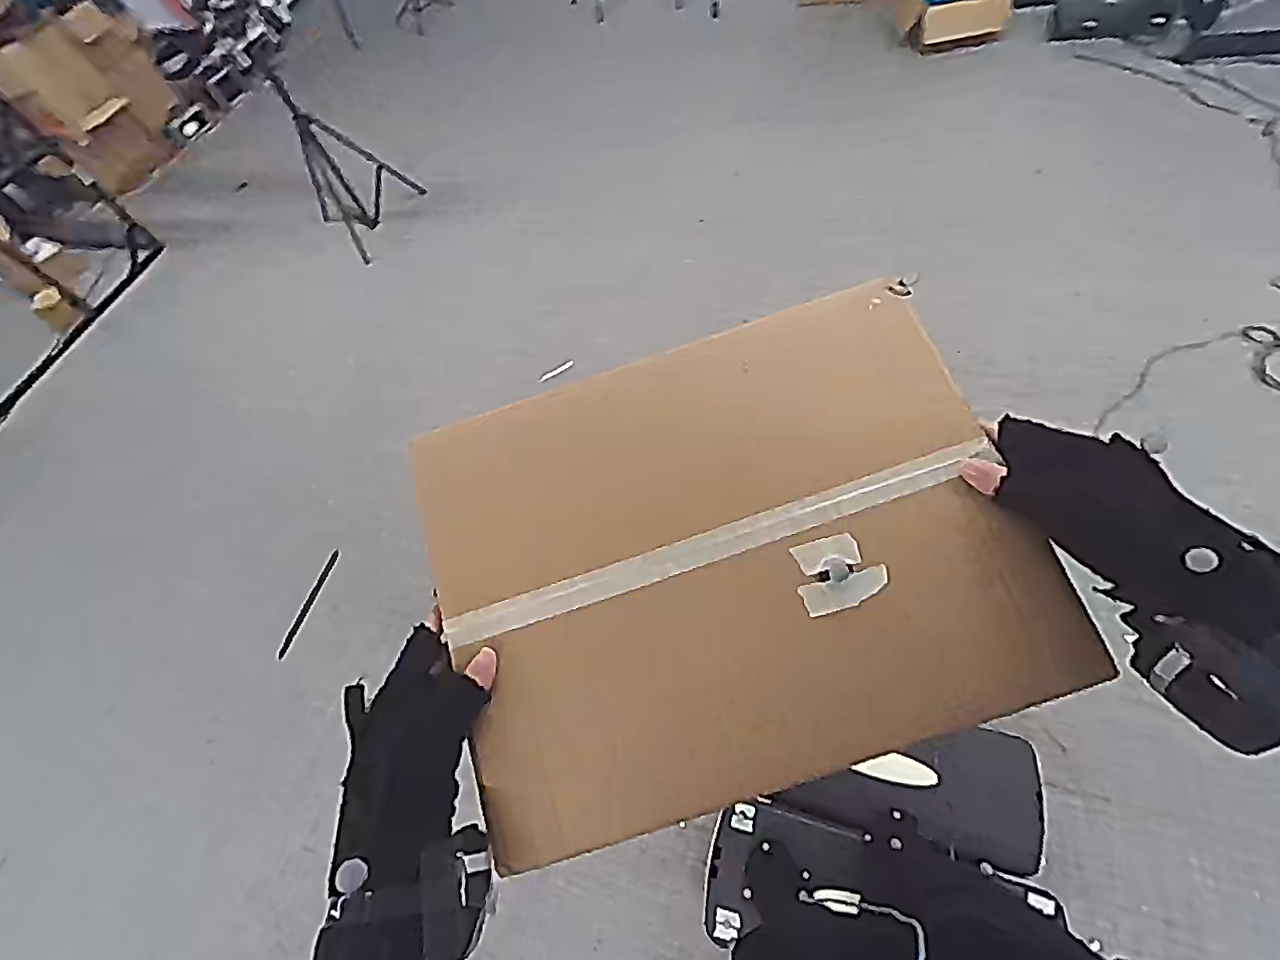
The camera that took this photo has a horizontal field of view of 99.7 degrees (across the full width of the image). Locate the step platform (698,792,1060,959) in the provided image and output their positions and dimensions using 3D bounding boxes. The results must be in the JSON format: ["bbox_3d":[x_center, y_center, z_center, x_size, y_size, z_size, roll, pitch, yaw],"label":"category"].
[{"bbox_3d":[0.469,0.907,1.147,0.684,0.204,0.286,7,62,19],"label":"step platform"}]

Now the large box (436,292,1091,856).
[{"bbox_3d":[0.078,0.090,0.538,0.408,0.320,0.320,-19,73,1],"label":"large box"}]
